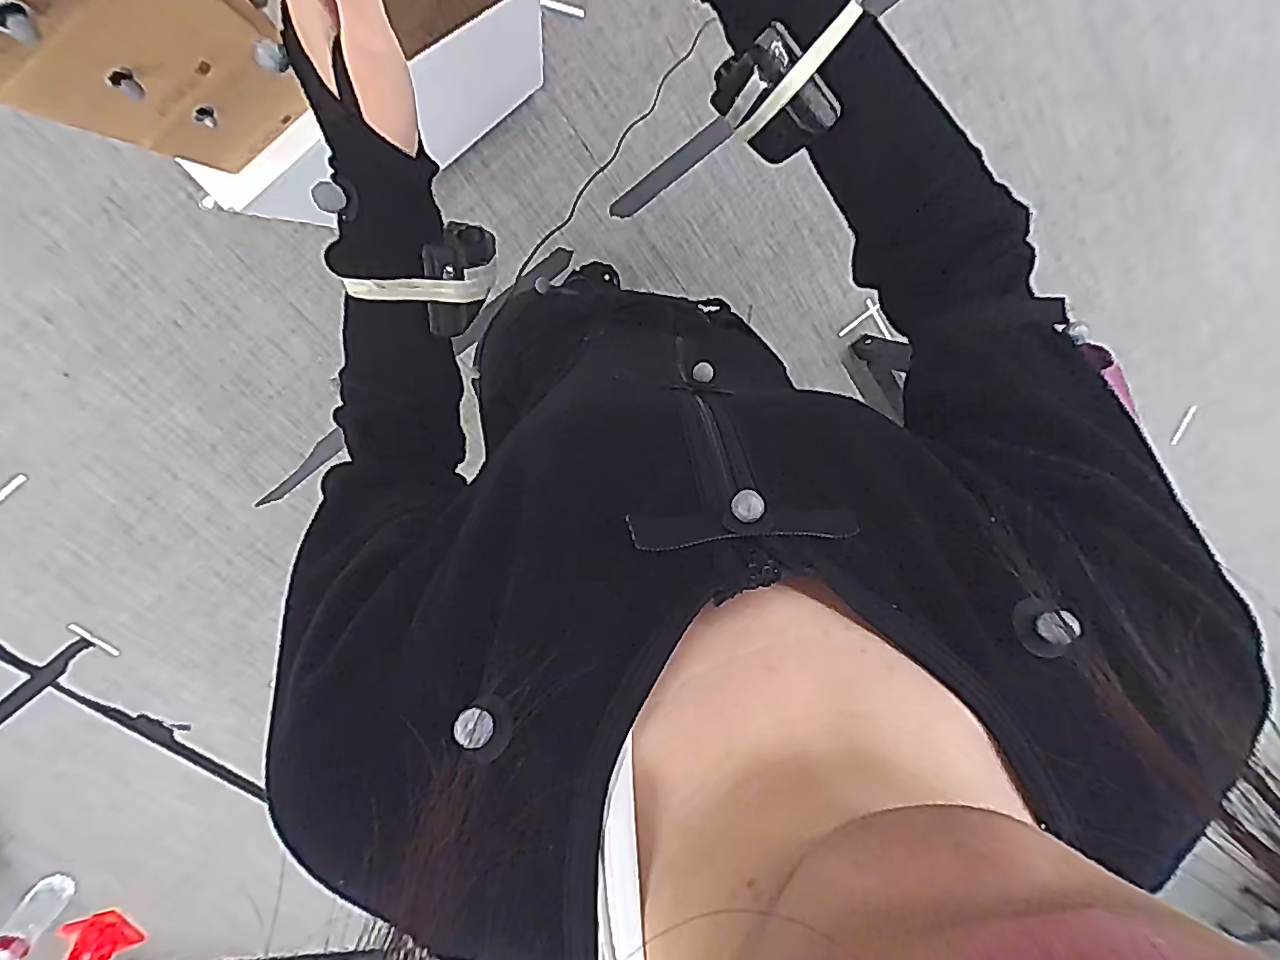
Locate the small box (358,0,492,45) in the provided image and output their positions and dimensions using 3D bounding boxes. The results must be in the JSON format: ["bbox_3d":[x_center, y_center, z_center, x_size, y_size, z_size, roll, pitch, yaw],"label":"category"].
[{"bbox_3d":[-0.117,-0.371,0.270,0.179,0.176,0.168,-28,116,6],"label":"small box"}]

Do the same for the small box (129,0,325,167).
[{"bbox_3d":[-0.483,-0.467,0.567,0.168,0.176,0.179,-36,111,7],"label":"small box"}]

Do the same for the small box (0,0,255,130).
[{"bbox_3d":[-0.457,-0.408,0.418,0.168,0.176,0.179,-38,112,7],"label":"small box"}]
